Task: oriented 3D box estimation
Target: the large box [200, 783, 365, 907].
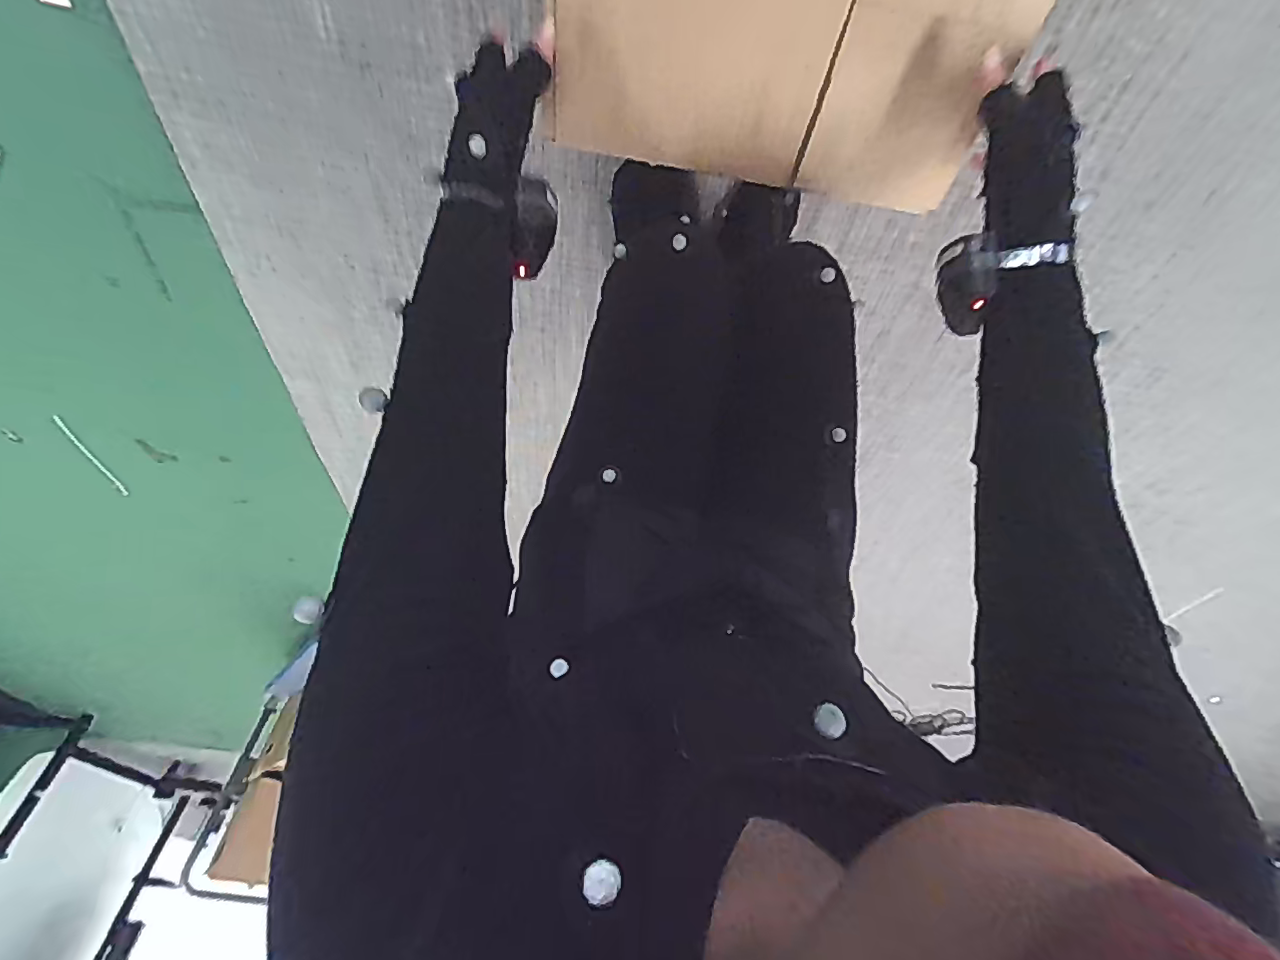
[{"bbox_3d":[-1.318,1.354,2.014,0.408,0.320,0.320,31,137,-24],"label":"large box"}]
